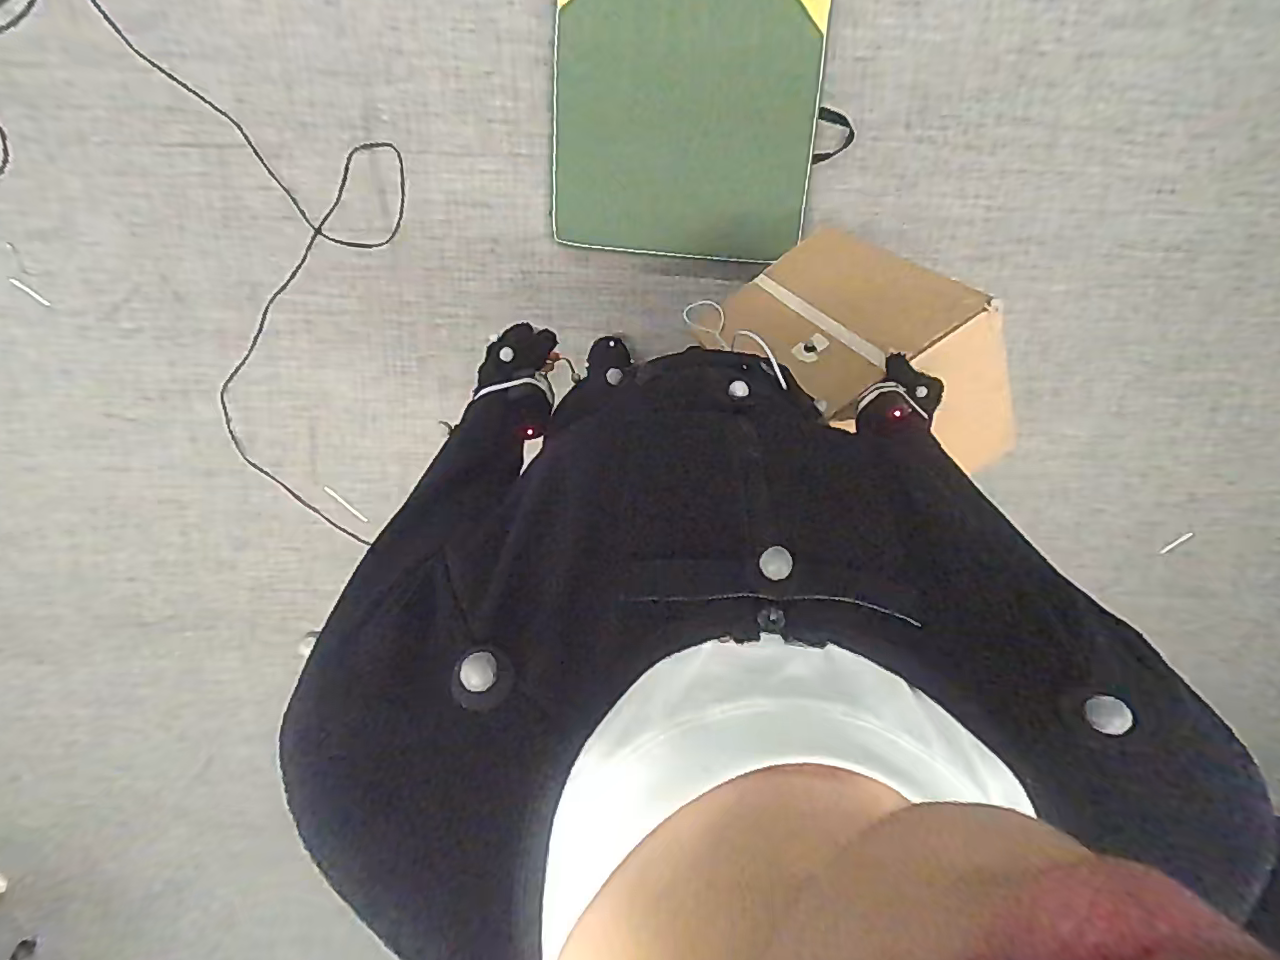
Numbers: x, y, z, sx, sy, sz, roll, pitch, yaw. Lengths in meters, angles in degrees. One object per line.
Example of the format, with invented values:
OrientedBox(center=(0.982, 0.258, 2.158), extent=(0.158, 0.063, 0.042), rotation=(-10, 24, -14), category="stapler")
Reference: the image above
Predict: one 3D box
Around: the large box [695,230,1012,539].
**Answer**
OrientedBox(center=(0.361, -0.177, 0.962), extent=(0.320, 0.408, 0.320), rotation=(-37, 131, 8), category="large box")
